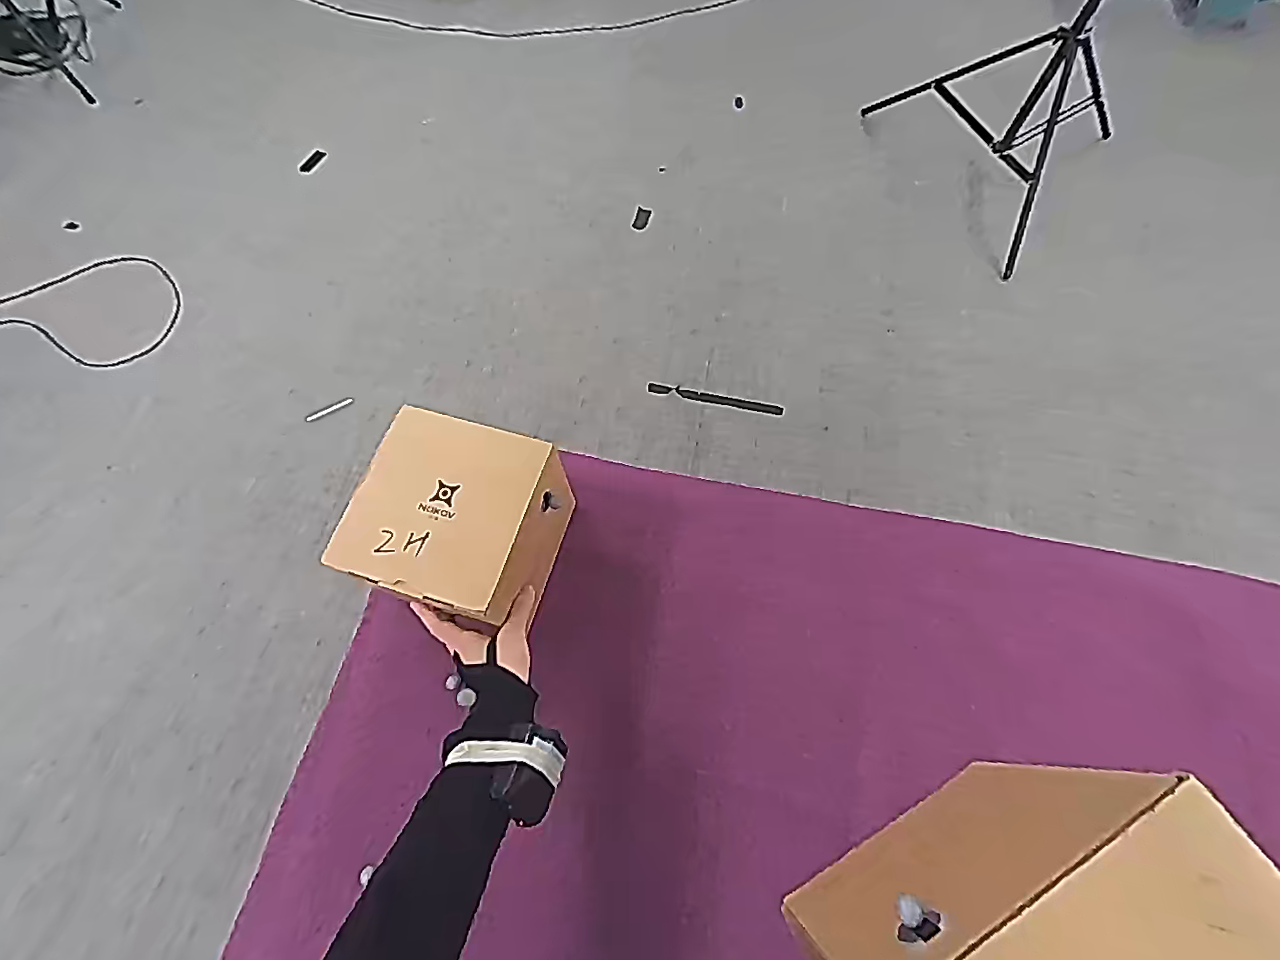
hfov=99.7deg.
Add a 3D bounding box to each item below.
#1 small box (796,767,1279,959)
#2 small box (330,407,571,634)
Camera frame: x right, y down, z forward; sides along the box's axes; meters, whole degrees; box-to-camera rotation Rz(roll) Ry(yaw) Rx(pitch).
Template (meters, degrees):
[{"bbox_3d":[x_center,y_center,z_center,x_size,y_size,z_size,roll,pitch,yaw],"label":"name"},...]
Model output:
[{"bbox_3d":[0.207,0.267,0.268,0.179,0.176,0.168,-27,67,-11],"label":"small box"},{"bbox_3d":[-0.181,0.052,0.585,0.168,0.176,0.179,15,69,8],"label":"small box"}]
